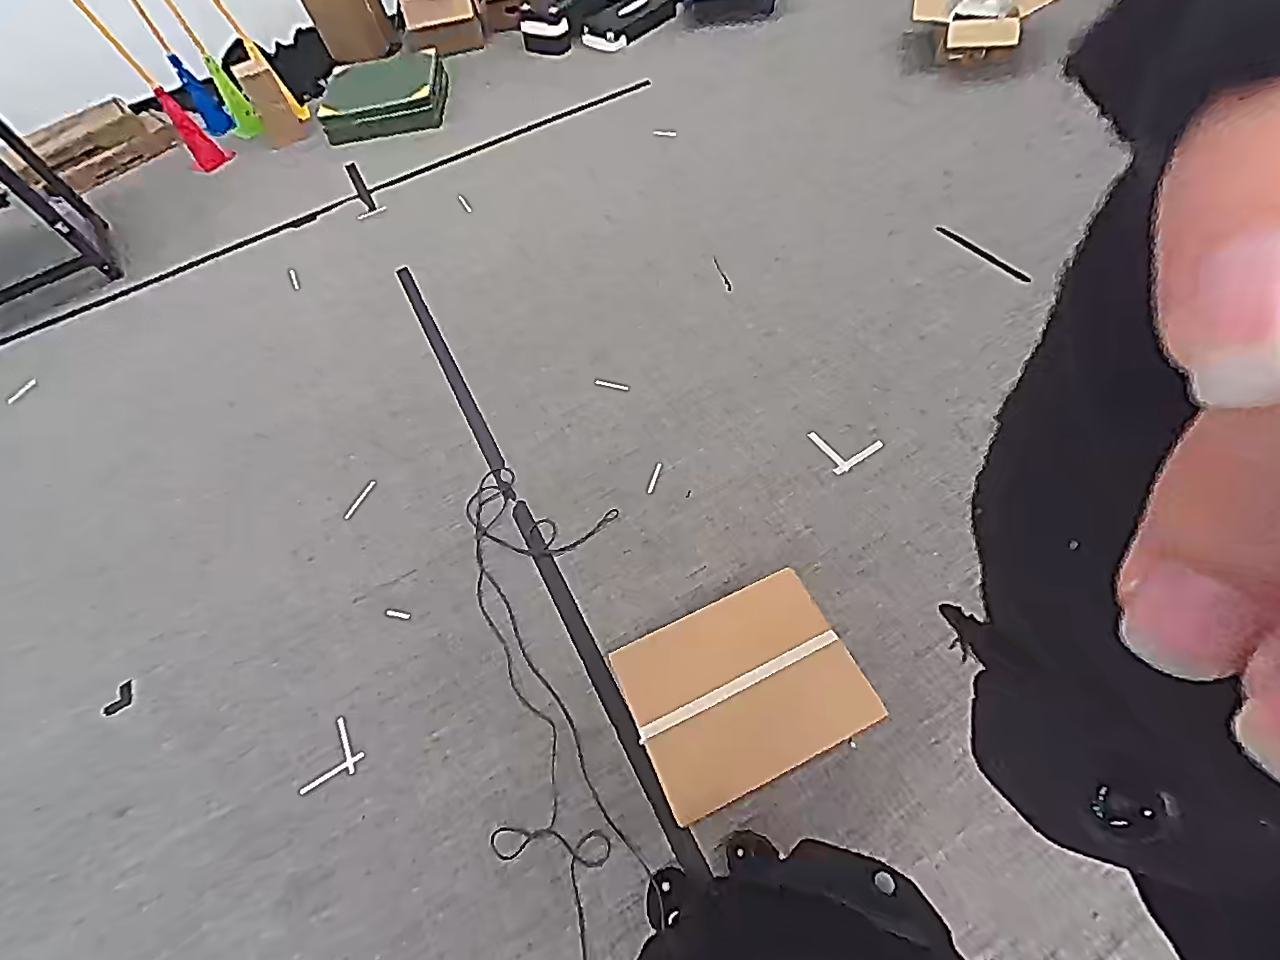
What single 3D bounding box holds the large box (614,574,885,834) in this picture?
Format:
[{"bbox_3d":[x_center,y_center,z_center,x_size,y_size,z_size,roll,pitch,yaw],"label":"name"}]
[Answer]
[{"bbox_3d":[0.205,0.459,1.108,0.408,0.320,0.320,-24,57,-8],"label":"large box"}]
